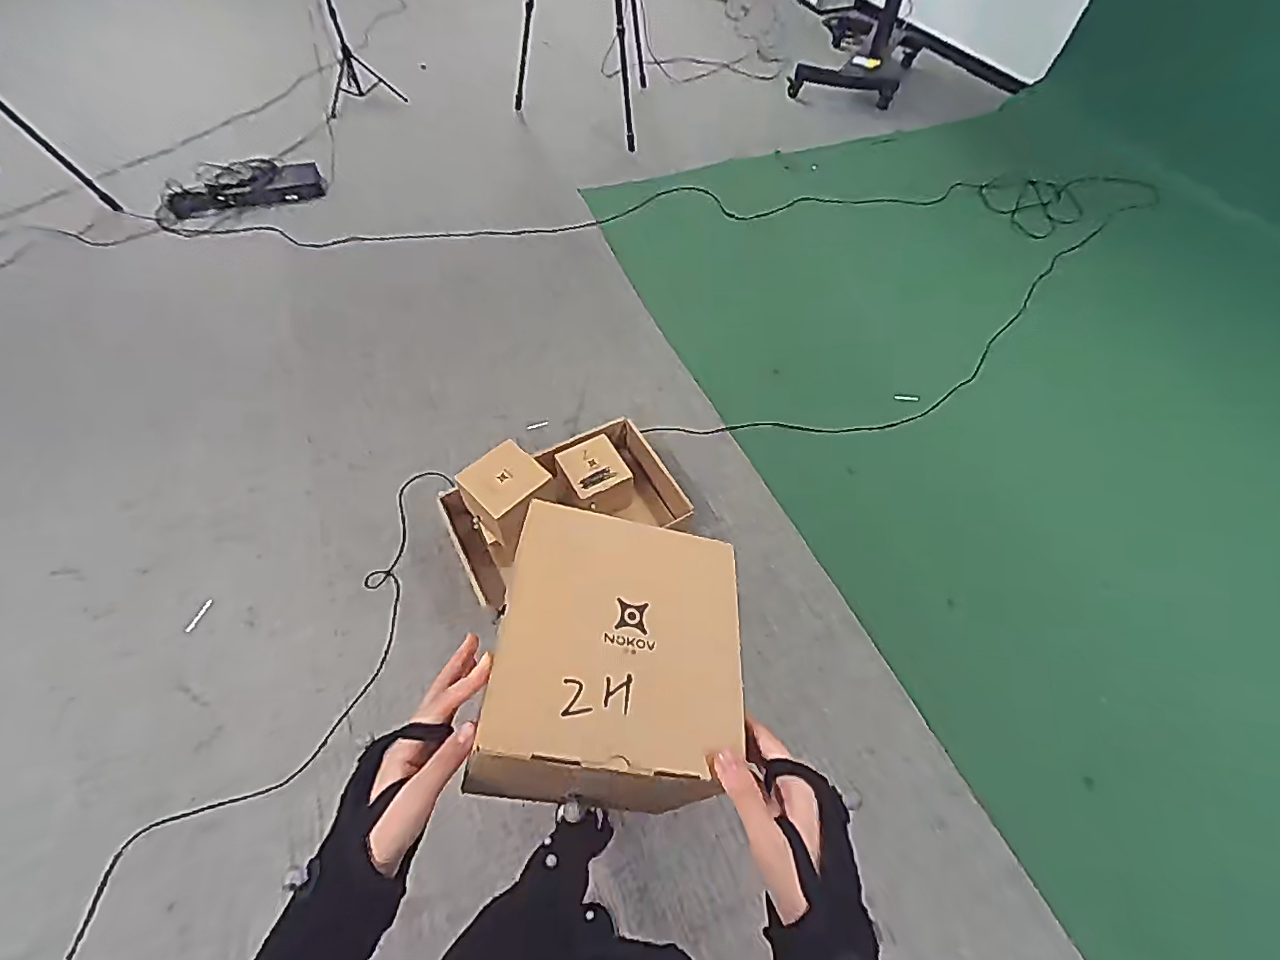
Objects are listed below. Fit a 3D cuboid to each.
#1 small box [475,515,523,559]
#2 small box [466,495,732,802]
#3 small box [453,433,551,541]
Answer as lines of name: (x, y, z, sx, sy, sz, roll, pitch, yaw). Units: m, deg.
small box: (-0.365, 0.097, 1.520, 0.179, 0.176, 0.168, -24, 63, -18)
small box: (-0.038, 0.143, 0.436, 0.168, 0.176, 0.179, 14, 52, -11)
small box: (-0.342, 0.021, 1.377, 0.168, 0.176, 0.179, 41, 64, 19)
